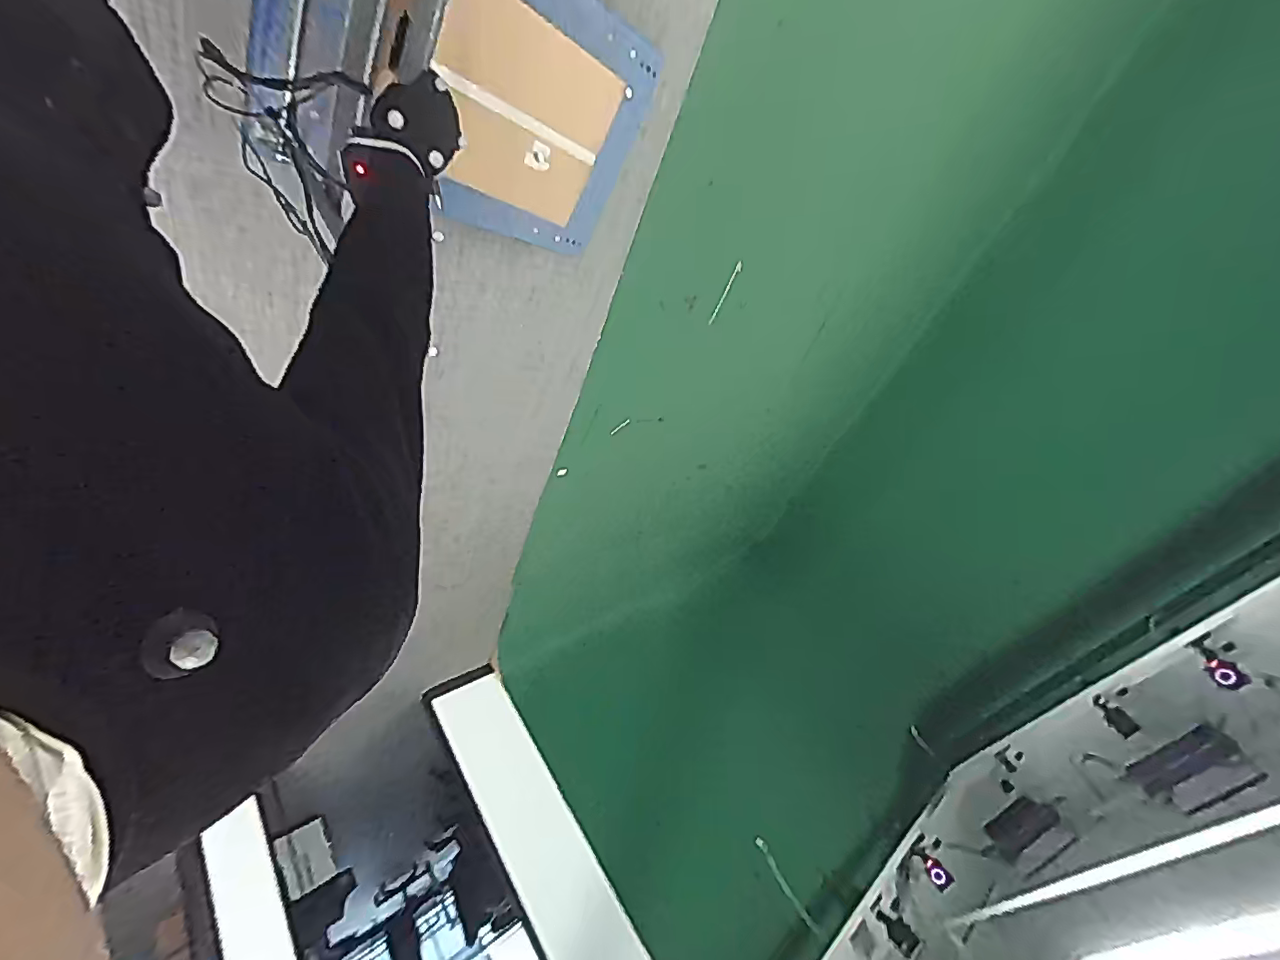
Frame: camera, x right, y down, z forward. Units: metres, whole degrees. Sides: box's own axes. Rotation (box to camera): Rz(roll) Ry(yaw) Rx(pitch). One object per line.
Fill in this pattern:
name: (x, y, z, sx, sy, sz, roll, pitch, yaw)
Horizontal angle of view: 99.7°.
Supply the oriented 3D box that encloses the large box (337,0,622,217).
large box: (-0.324, -0.804, 1.088, 0.408, 0.320, 0.320, -3, 135, -50)
